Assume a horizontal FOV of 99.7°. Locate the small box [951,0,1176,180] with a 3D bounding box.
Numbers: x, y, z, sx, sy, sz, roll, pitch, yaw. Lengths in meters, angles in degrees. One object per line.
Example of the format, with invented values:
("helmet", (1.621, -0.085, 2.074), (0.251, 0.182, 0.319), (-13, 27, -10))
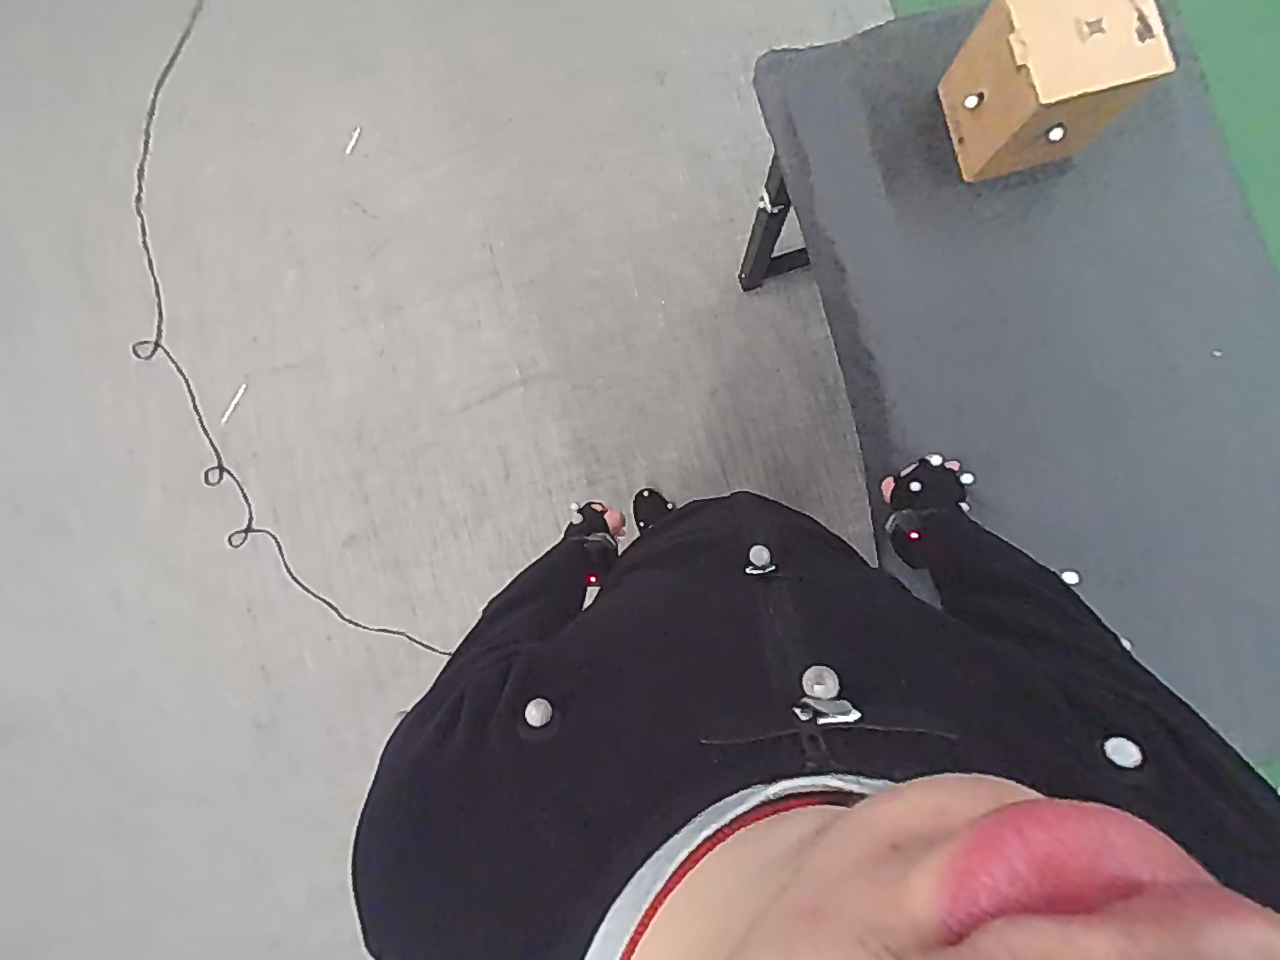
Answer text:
("small box", (0.570, -0.559, 0.760), (0.179, 0.176, 0.168), (-14, 87, 3))
